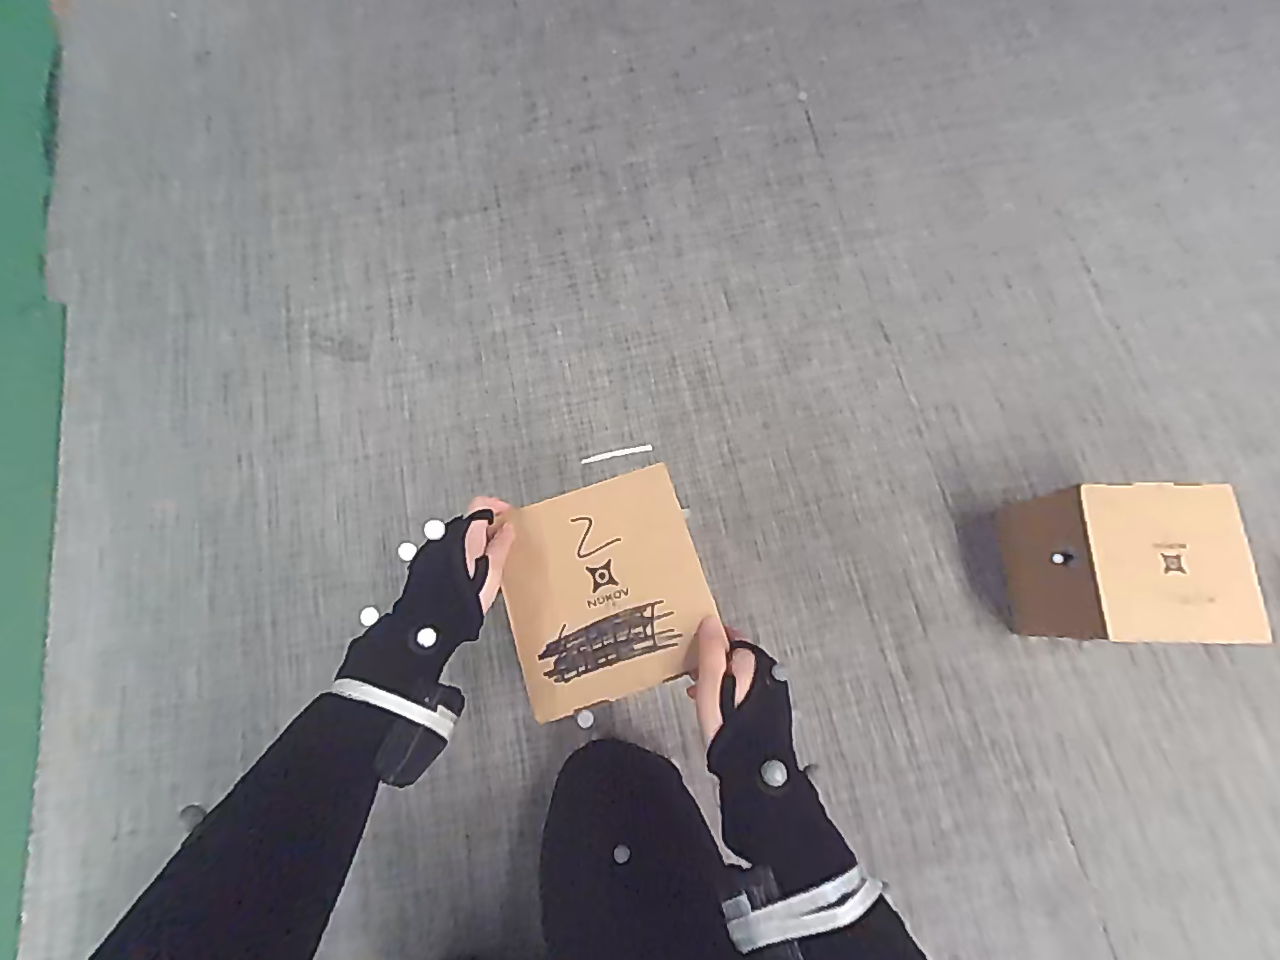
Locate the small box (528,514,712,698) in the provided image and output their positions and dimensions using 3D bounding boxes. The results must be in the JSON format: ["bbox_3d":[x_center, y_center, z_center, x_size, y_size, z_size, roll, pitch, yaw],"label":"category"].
[{"bbox_3d":[-0.019,0.161,0.687,0.179,0.176,0.168,-19,75,-1],"label":"small box"}]

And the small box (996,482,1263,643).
[{"bbox_3d":[0.578,0.109,0.670,0.168,0.176,0.179,0,74,4],"label":"small box"}]
